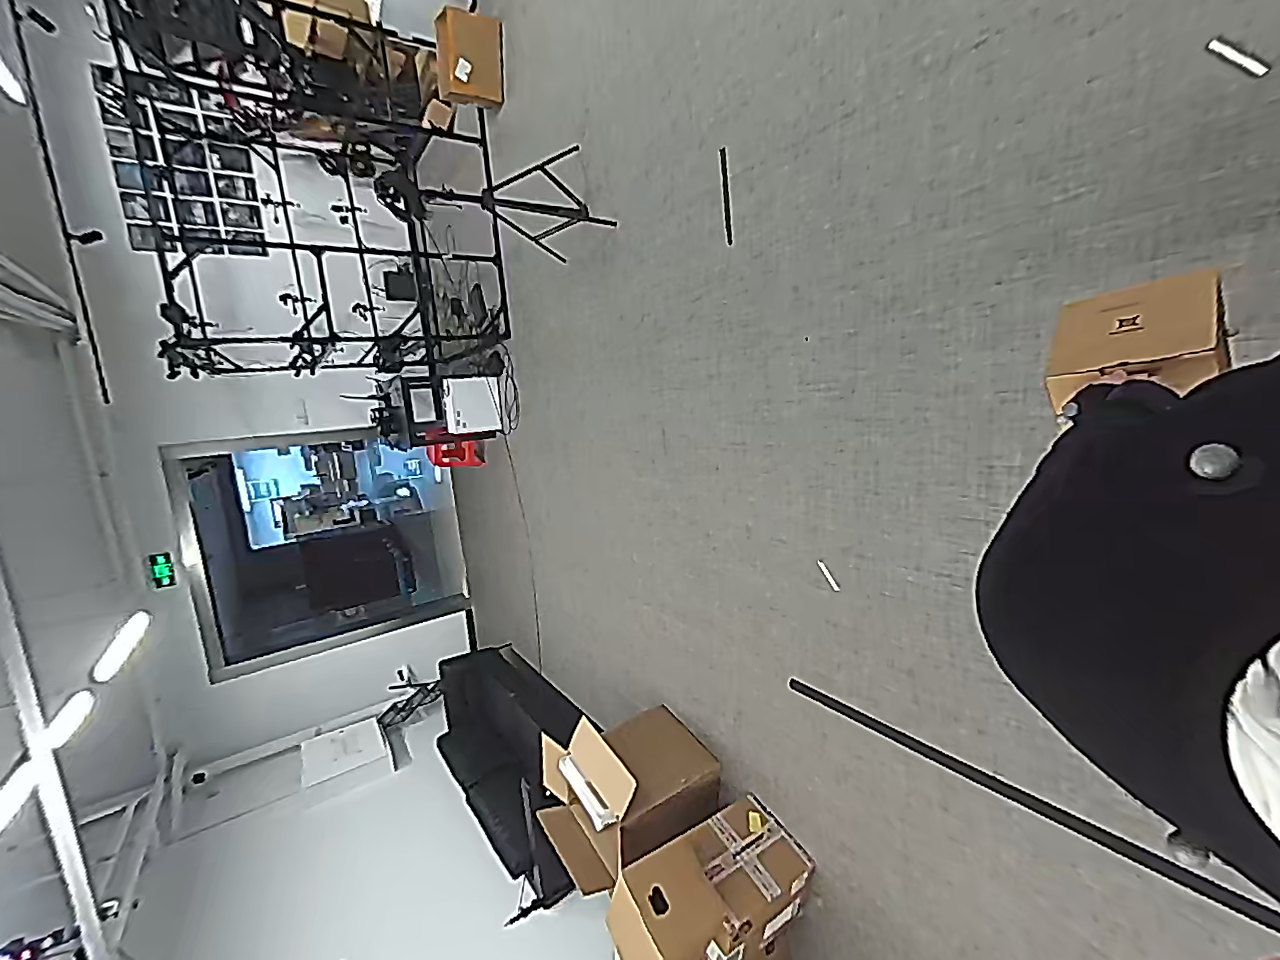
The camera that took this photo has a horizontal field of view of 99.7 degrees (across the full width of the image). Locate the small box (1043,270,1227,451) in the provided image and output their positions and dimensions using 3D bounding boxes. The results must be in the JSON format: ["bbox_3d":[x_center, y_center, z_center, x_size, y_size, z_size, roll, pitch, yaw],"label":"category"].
[{"bbox_3d":[0.700,-0.153,0.762,0.168,0.179,0.176,-4,133,49],"label":"small box"}]
